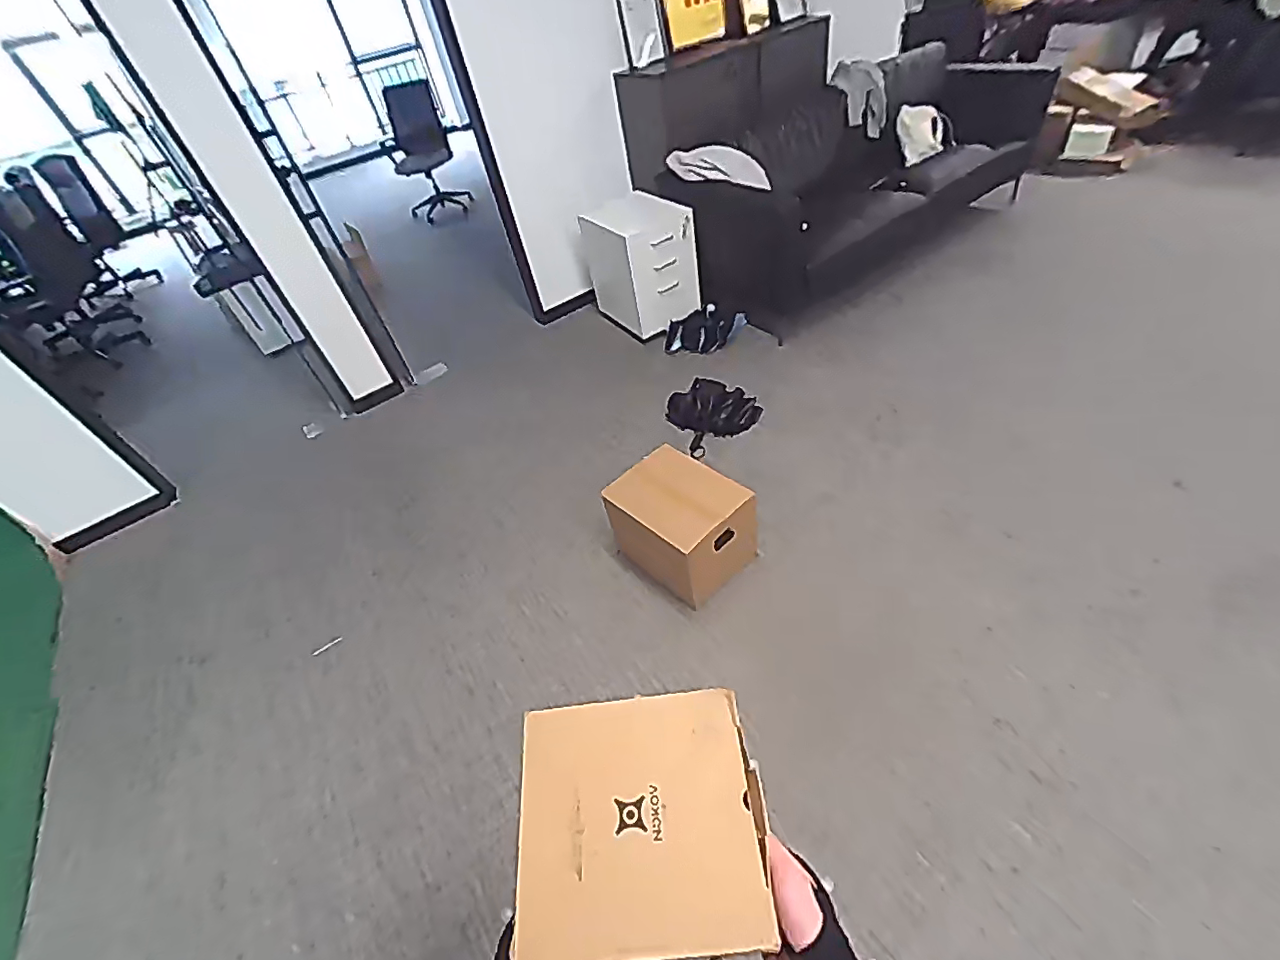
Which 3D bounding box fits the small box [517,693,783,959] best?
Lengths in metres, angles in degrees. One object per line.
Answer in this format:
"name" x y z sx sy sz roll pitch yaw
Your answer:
"small box" 0.008 0.298 0.456 0.179 0.176 0.168 -9 50 2
